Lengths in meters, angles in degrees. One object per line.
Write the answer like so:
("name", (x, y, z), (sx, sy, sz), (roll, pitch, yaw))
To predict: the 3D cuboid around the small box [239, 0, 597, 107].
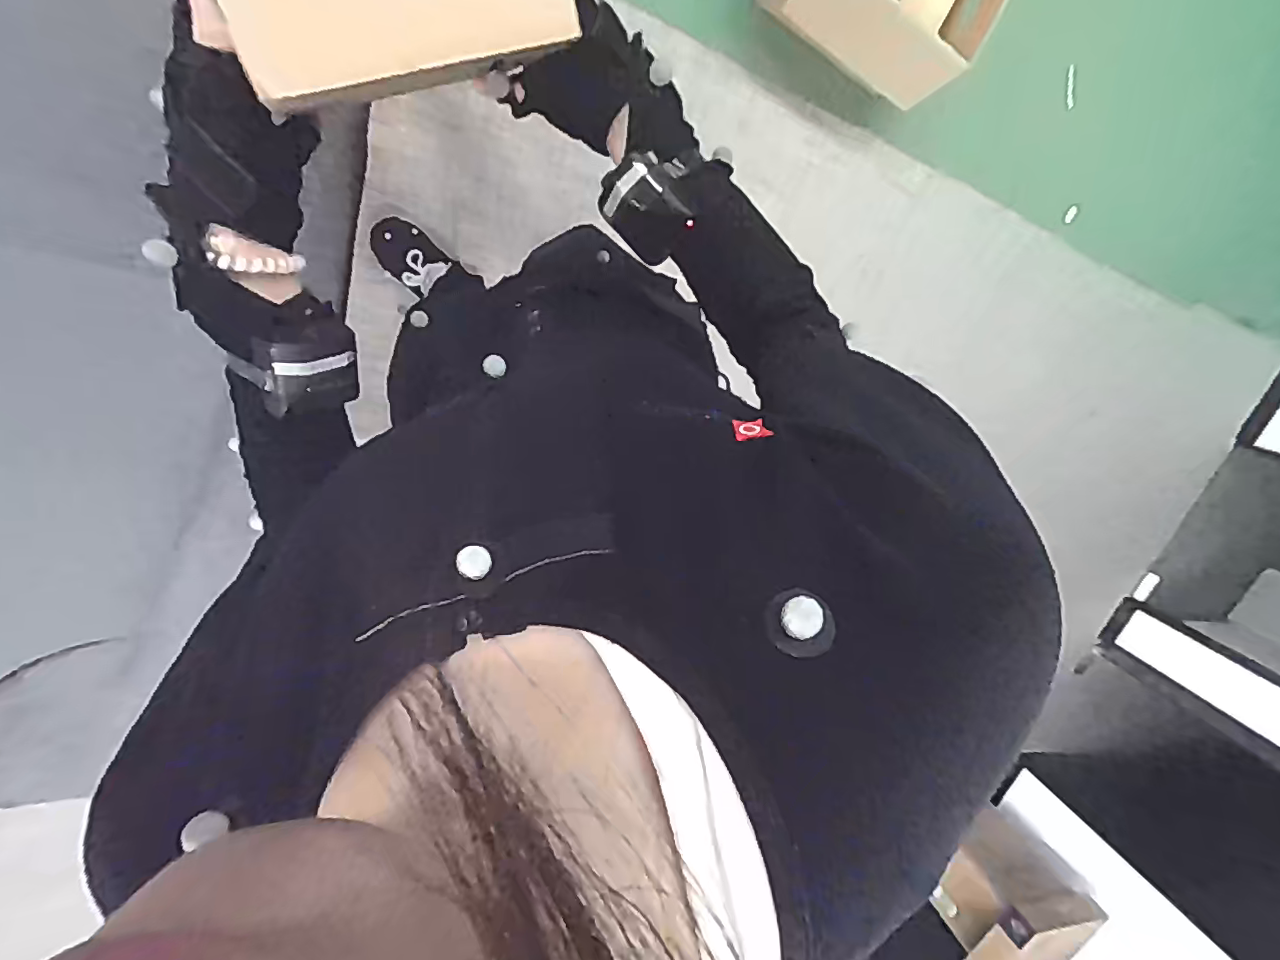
("small box", (-0.148, -0.324, 0.301), (0.179, 0.176, 0.168), (-24, 127, -15))
